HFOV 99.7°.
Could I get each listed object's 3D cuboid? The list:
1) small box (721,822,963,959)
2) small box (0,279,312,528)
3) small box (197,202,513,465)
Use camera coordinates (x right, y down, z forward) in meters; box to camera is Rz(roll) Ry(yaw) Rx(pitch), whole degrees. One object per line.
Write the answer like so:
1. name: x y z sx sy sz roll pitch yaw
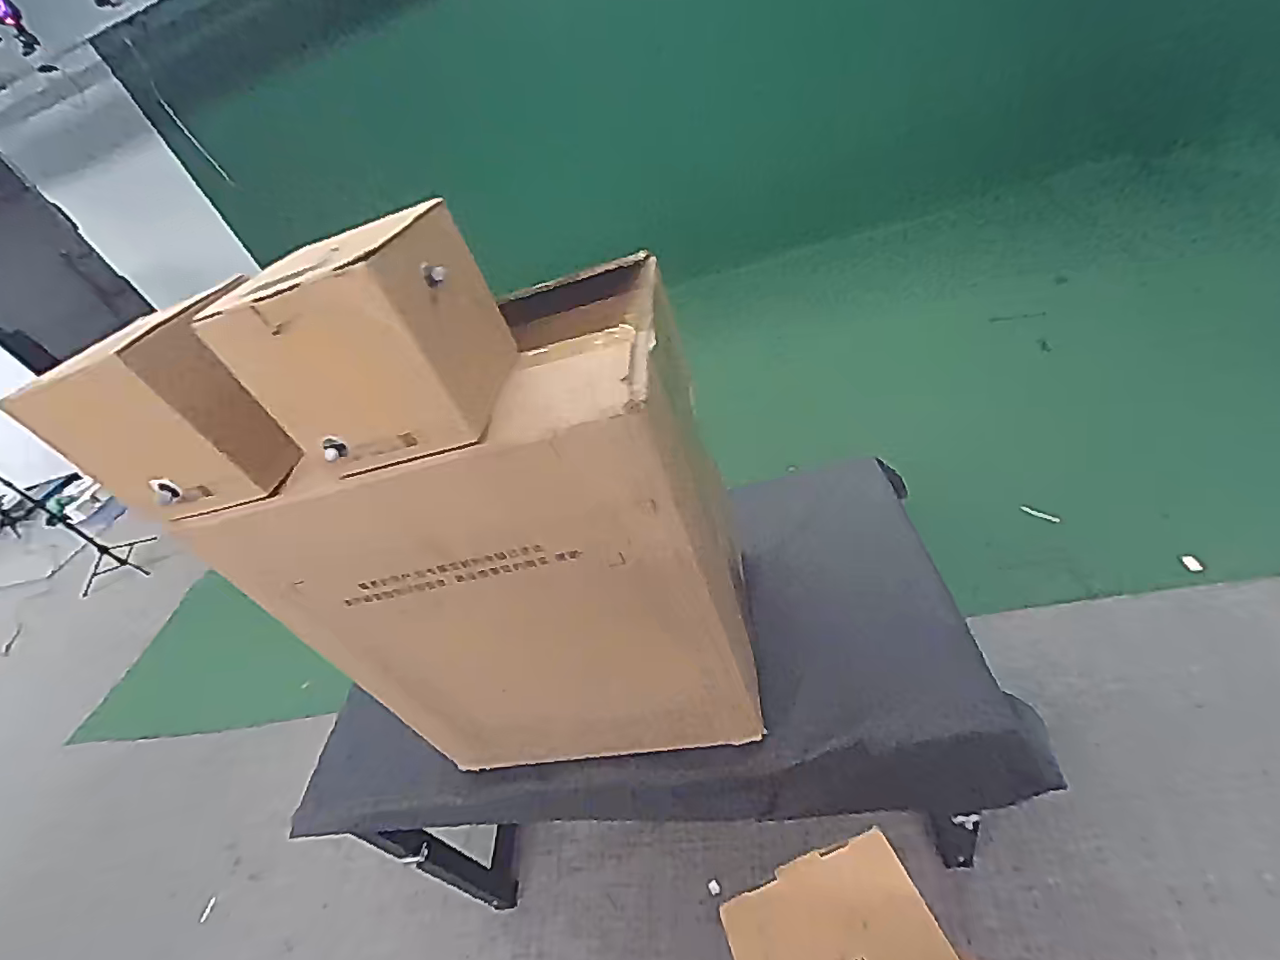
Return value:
1. small box: 0.195 0.449 0.465 0.168 0.176 0.179 -27 33 -1
2. small box: -0.459 -0.077 0.567 0.168 0.176 0.179 -14 39 16
3. small box: -0.240 -0.130 0.512 0.168 0.176 0.179 -13 38 12
